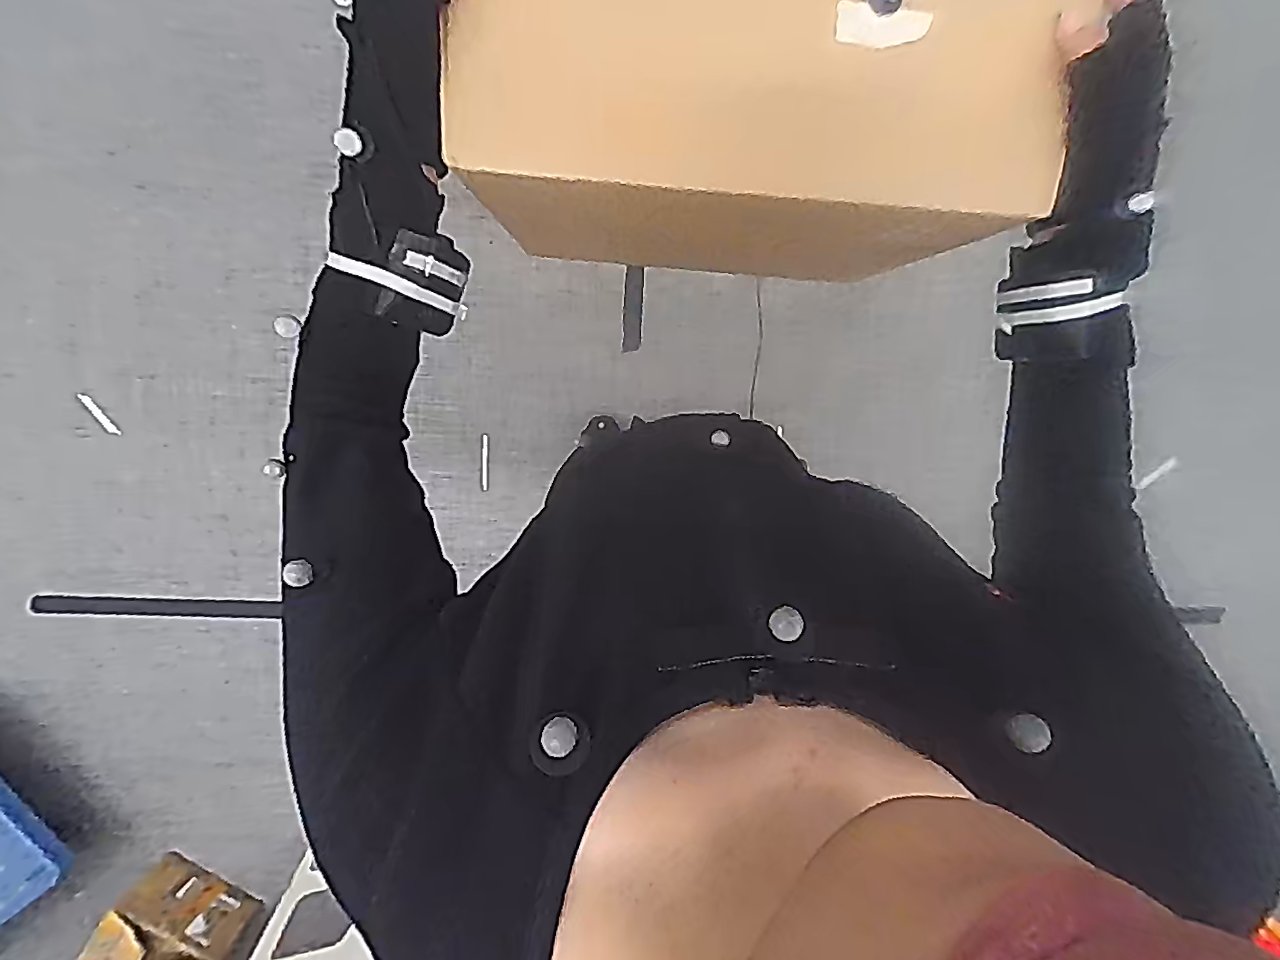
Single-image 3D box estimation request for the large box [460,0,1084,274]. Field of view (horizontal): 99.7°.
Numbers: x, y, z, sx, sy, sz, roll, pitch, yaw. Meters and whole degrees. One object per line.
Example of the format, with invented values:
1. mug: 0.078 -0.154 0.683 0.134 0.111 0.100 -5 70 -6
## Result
1. large box: 0.080 -0.377 0.476 0.408 0.320 0.320 3 103 -4
